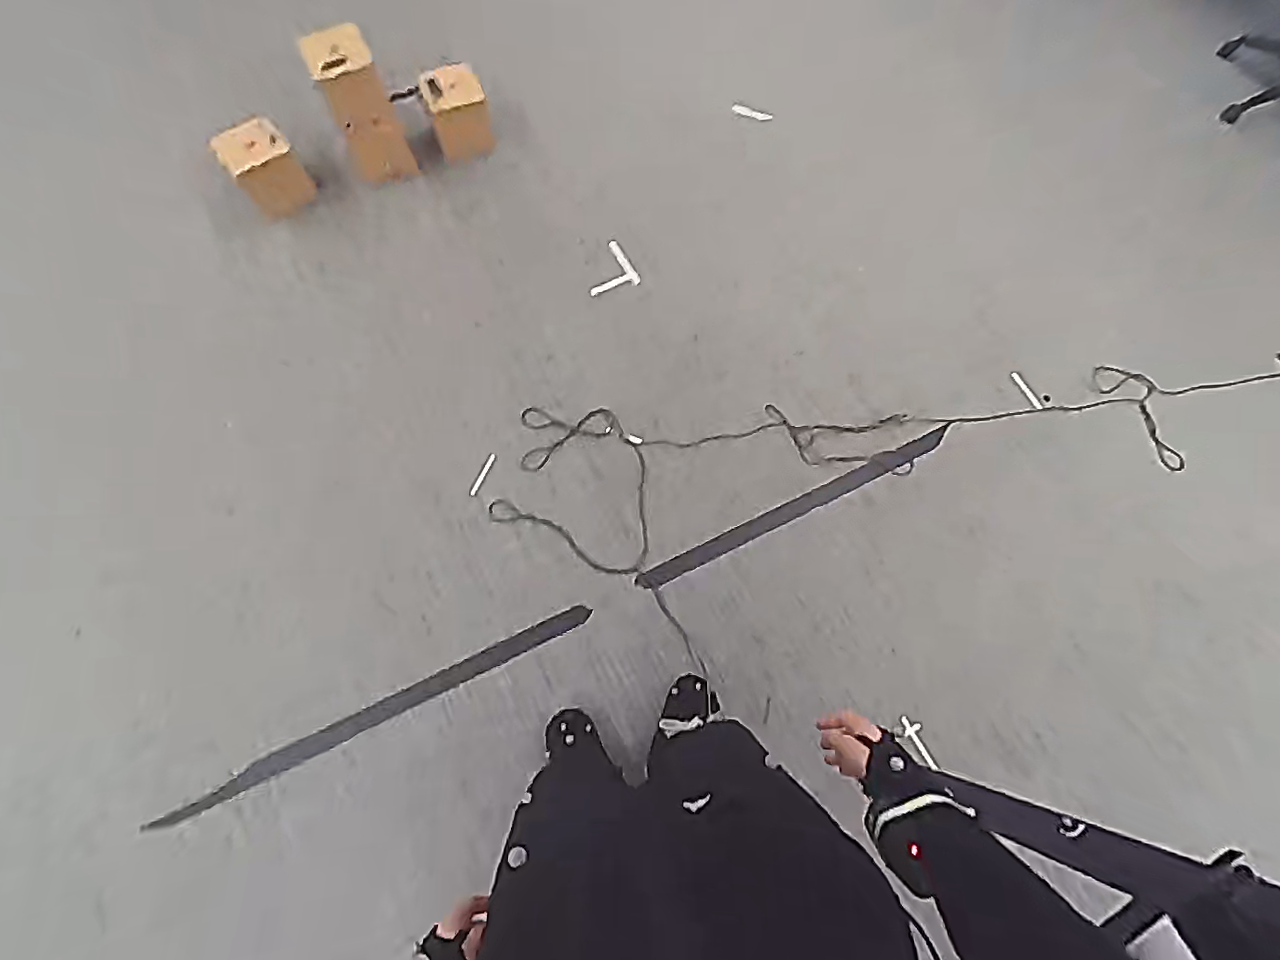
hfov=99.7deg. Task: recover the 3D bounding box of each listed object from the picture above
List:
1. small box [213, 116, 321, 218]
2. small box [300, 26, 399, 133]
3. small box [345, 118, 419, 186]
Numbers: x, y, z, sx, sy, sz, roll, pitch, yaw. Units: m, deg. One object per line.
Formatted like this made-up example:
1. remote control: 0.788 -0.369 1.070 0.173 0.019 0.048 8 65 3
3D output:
1. small box: -1.110 -0.931 1.624 0.179 0.176 0.168 -37 78 -13
2. small box: -0.811 -1.120 1.528 0.168 0.176 0.179 -26 74 -11
3. small box: -0.813 -1.062 1.682 0.168 0.176 0.179 -22 75 -10
